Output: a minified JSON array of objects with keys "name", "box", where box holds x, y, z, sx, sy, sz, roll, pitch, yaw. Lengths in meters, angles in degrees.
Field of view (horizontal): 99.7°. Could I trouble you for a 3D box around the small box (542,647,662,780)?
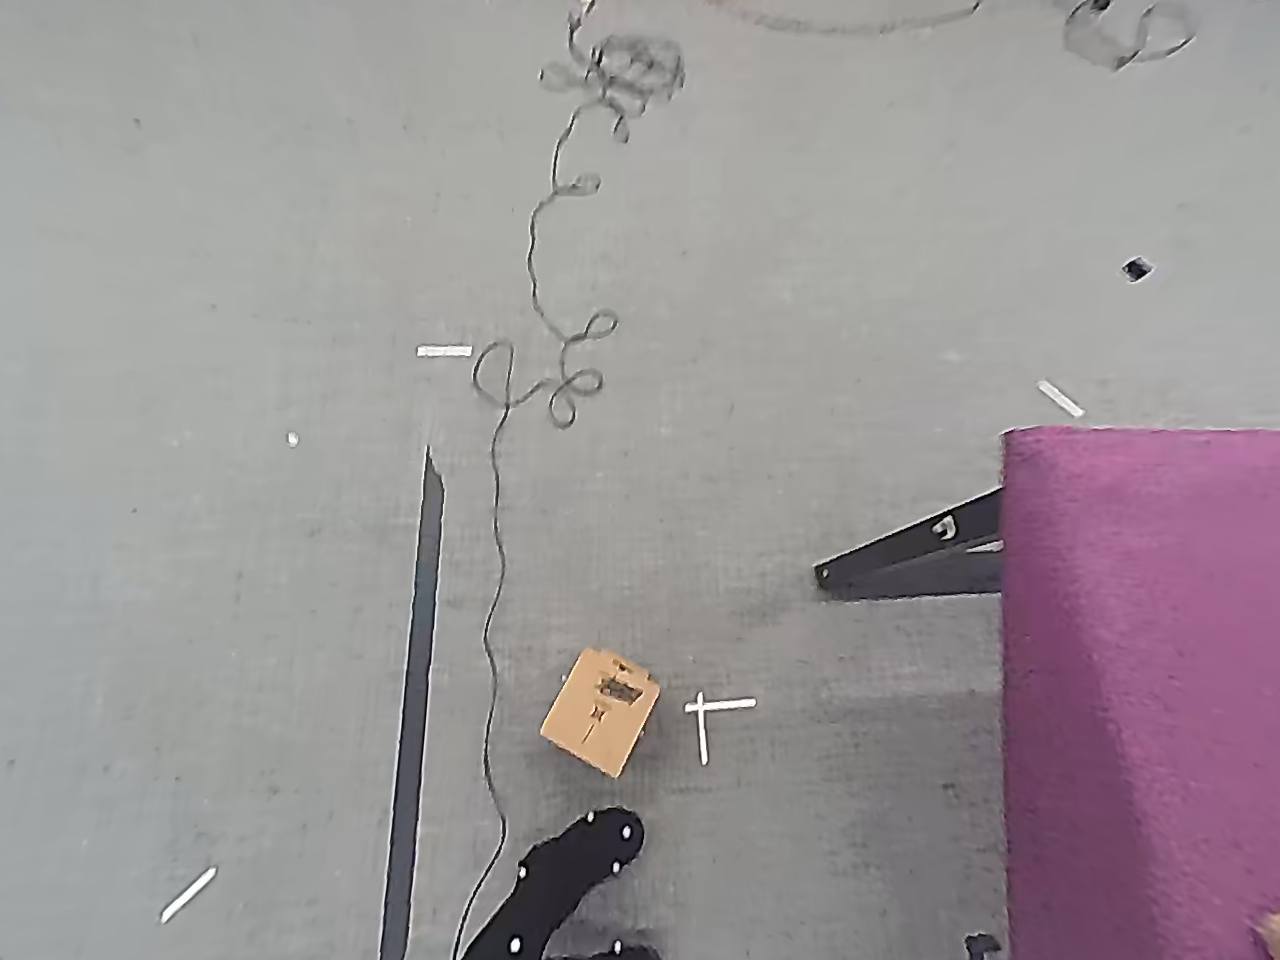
[{"name":"small box","box":[-0.074,0.448,1.067,0.168,0.176,0.179,28,73,6]}]
